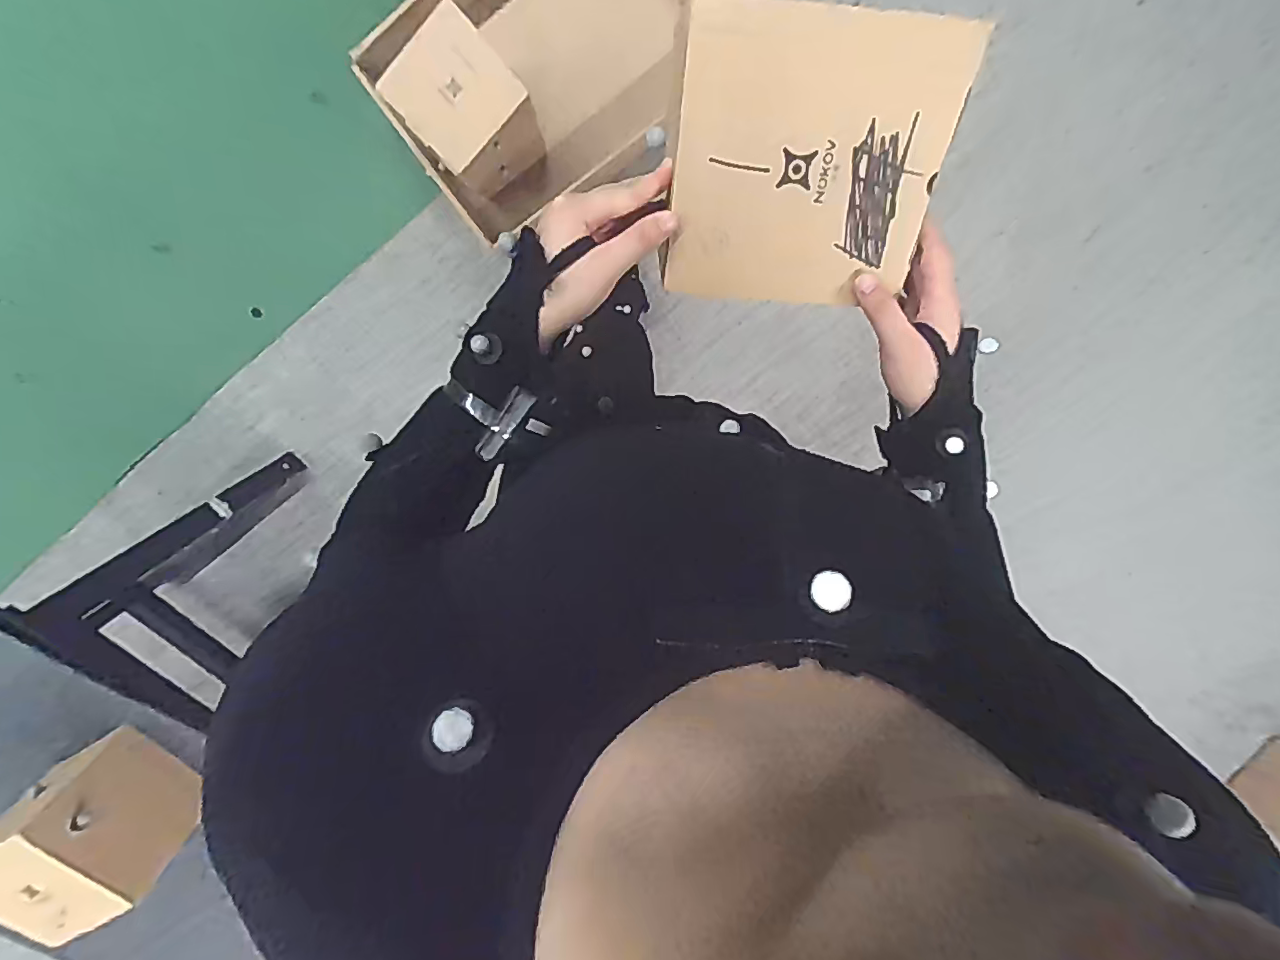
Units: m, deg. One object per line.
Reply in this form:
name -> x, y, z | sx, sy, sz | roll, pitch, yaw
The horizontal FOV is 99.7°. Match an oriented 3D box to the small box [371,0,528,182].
small box -> -0.301, -0.633, 0.901 | 0.179, 0.176, 0.168 | -43, 111, 9

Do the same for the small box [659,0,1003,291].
small box -> 0.113, -0.256, 0.411 | 0.179, 0.176, 0.168 | 3, 124, -3

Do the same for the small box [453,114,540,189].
small box -> -0.313, -0.696, 1.052 | 0.179, 0.176, 0.168 | -33, 112, 8

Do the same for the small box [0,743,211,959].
small box -> -0.764, 0.495, 0.742 | 0.168, 0.176, 0.179 | -30, 112, 9
